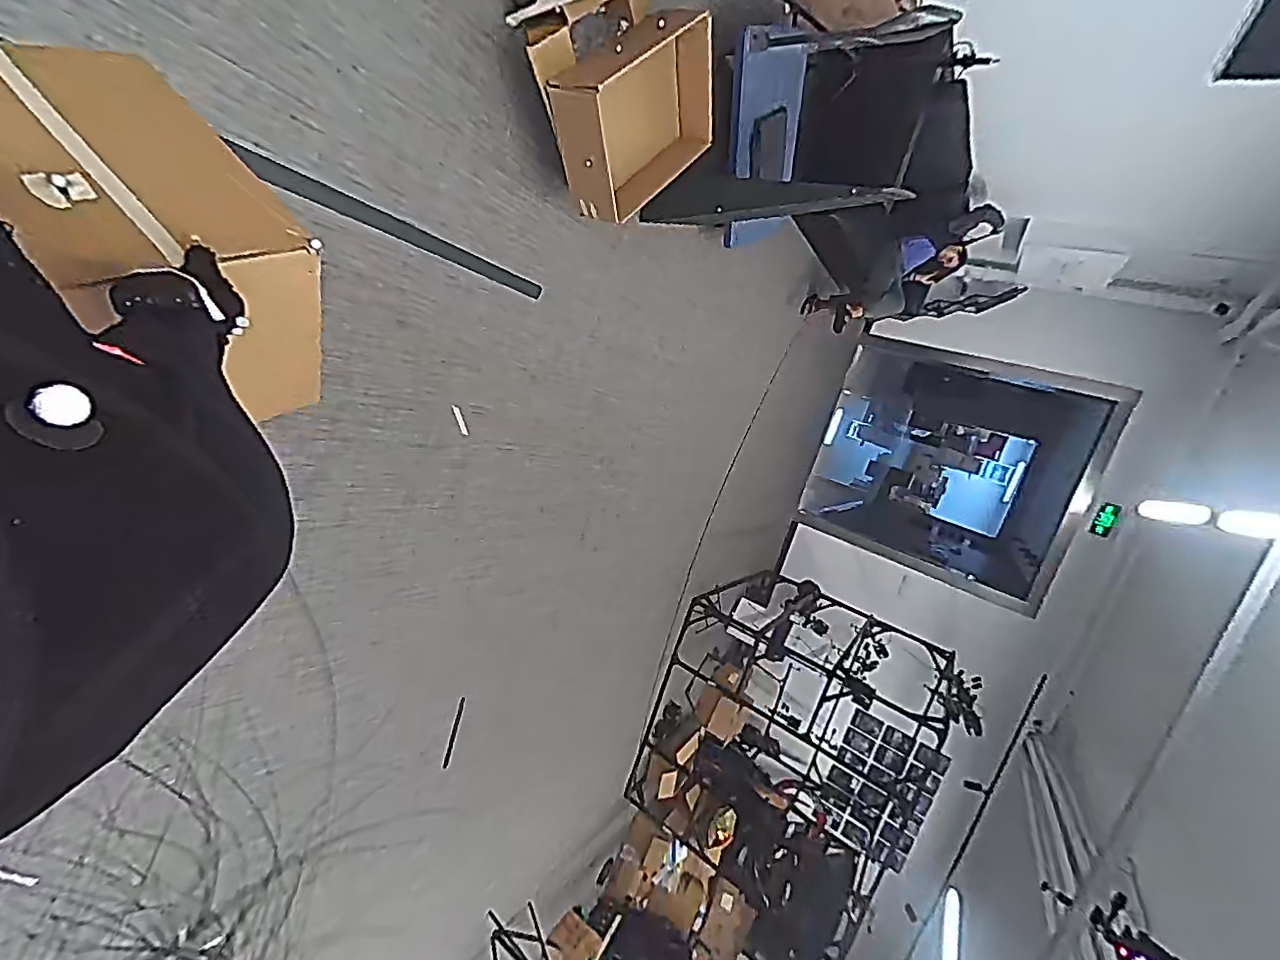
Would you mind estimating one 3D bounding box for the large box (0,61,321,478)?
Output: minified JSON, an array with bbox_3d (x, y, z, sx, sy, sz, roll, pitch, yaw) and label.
[{"bbox_3d":[-0.713,-0.284,0.741,0.320,0.408,0.320,-39,172,-42],"label":"large box"}]
